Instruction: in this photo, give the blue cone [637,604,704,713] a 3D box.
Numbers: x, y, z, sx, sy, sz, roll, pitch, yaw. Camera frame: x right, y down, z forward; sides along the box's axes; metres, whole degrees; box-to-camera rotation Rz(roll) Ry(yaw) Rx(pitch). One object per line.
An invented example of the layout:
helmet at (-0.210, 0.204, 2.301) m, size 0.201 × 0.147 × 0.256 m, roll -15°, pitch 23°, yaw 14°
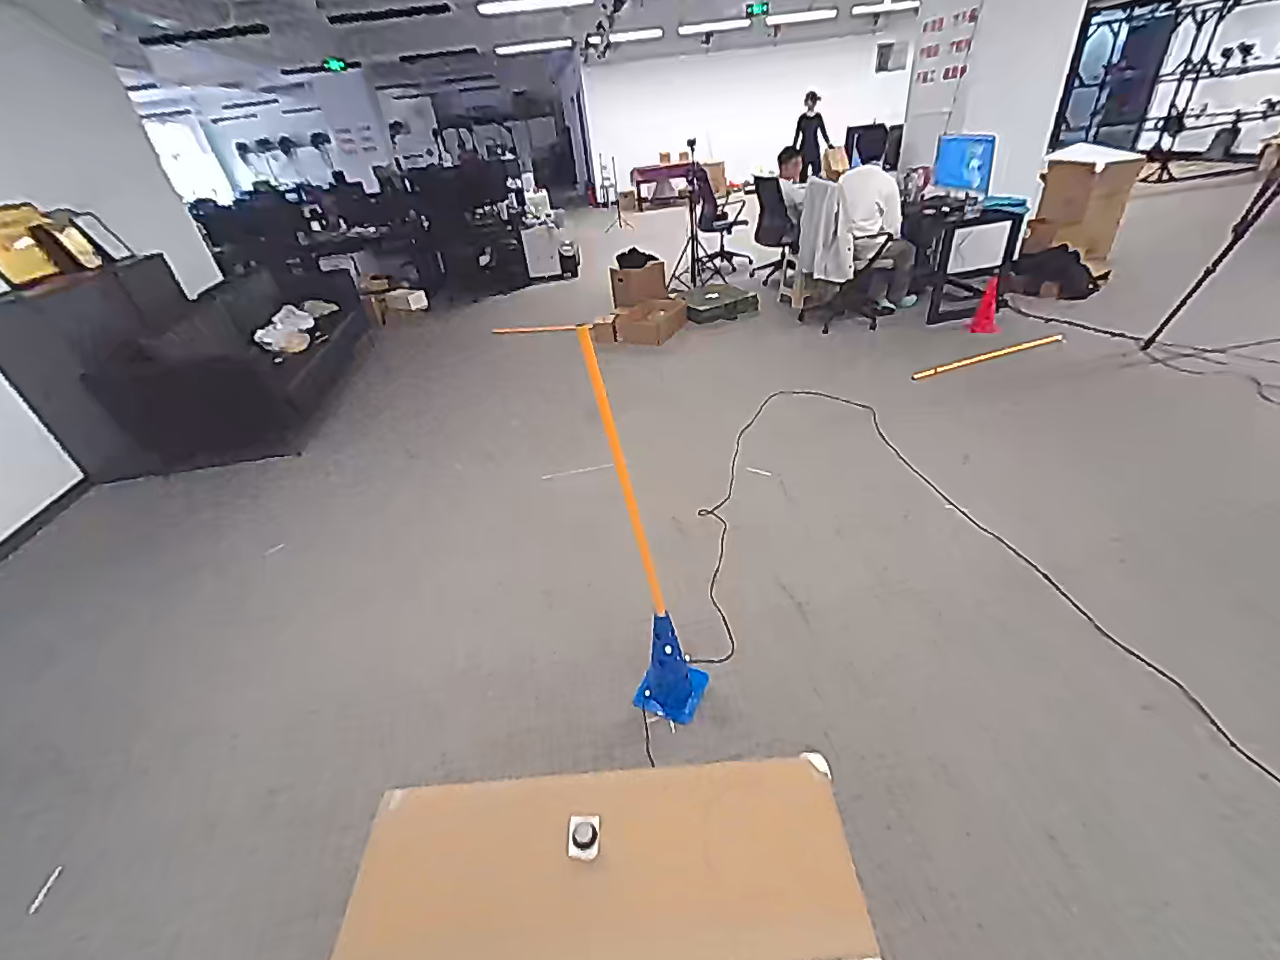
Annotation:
blue cone at (0.079, 0.520, 1.649) m, size 0.192 × 0.380 × 0.193 m, roll 8°, pitch 38°, yaw 23°
